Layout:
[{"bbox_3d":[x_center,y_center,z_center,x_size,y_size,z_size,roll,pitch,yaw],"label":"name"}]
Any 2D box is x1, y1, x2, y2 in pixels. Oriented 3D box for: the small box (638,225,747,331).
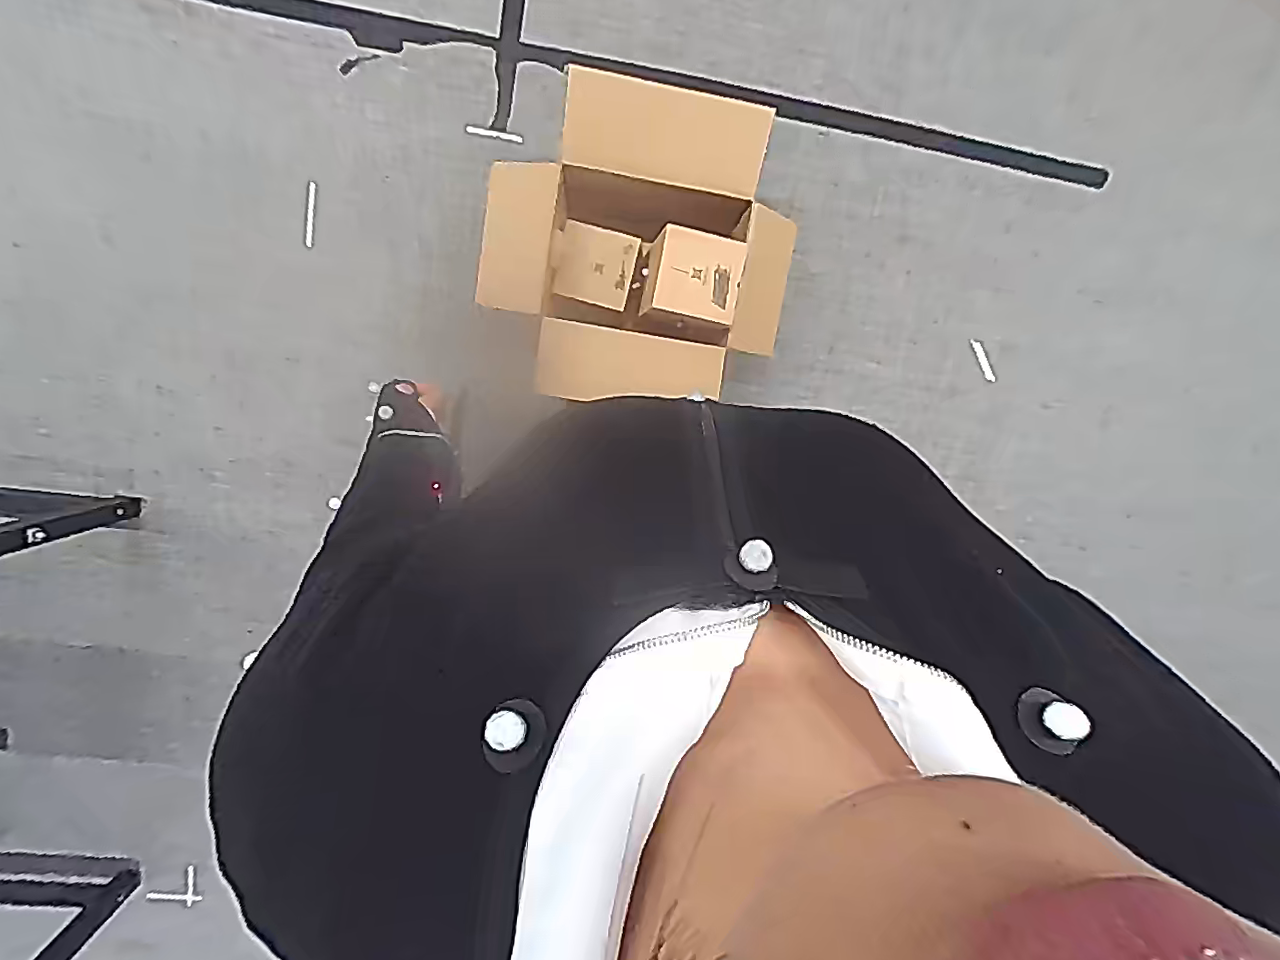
[{"bbox_3d":[0.105,-0.425,1.169,0.179,0.176,0.168,10,98,-10],"label":"small box"}]
